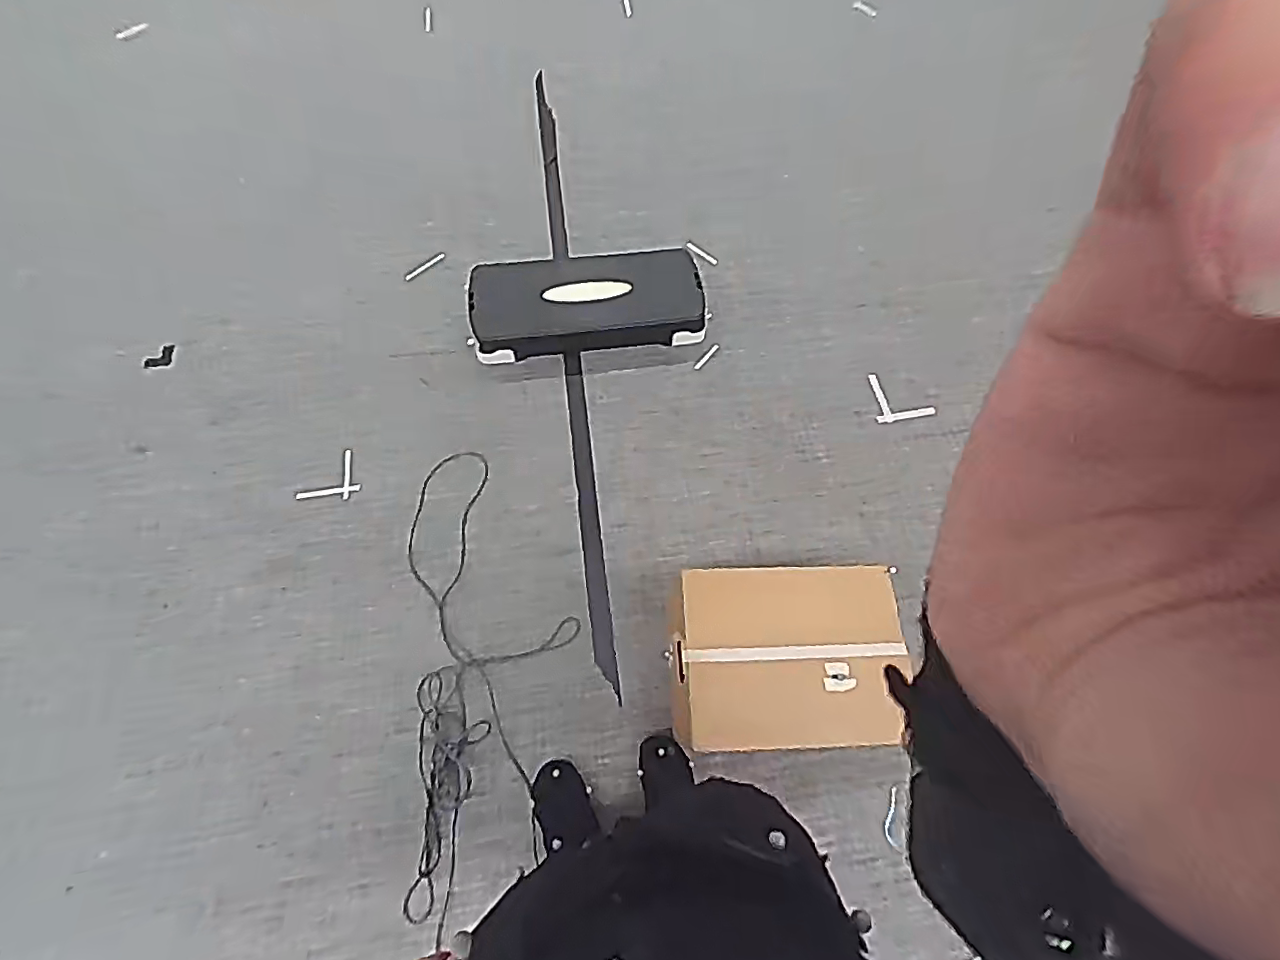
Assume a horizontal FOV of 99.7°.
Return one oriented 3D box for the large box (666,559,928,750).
[{"bbox_3d":[0.276,0.356,1.096,0.408,0.320,0.320,-1,67,-4],"label":"large box"}]
